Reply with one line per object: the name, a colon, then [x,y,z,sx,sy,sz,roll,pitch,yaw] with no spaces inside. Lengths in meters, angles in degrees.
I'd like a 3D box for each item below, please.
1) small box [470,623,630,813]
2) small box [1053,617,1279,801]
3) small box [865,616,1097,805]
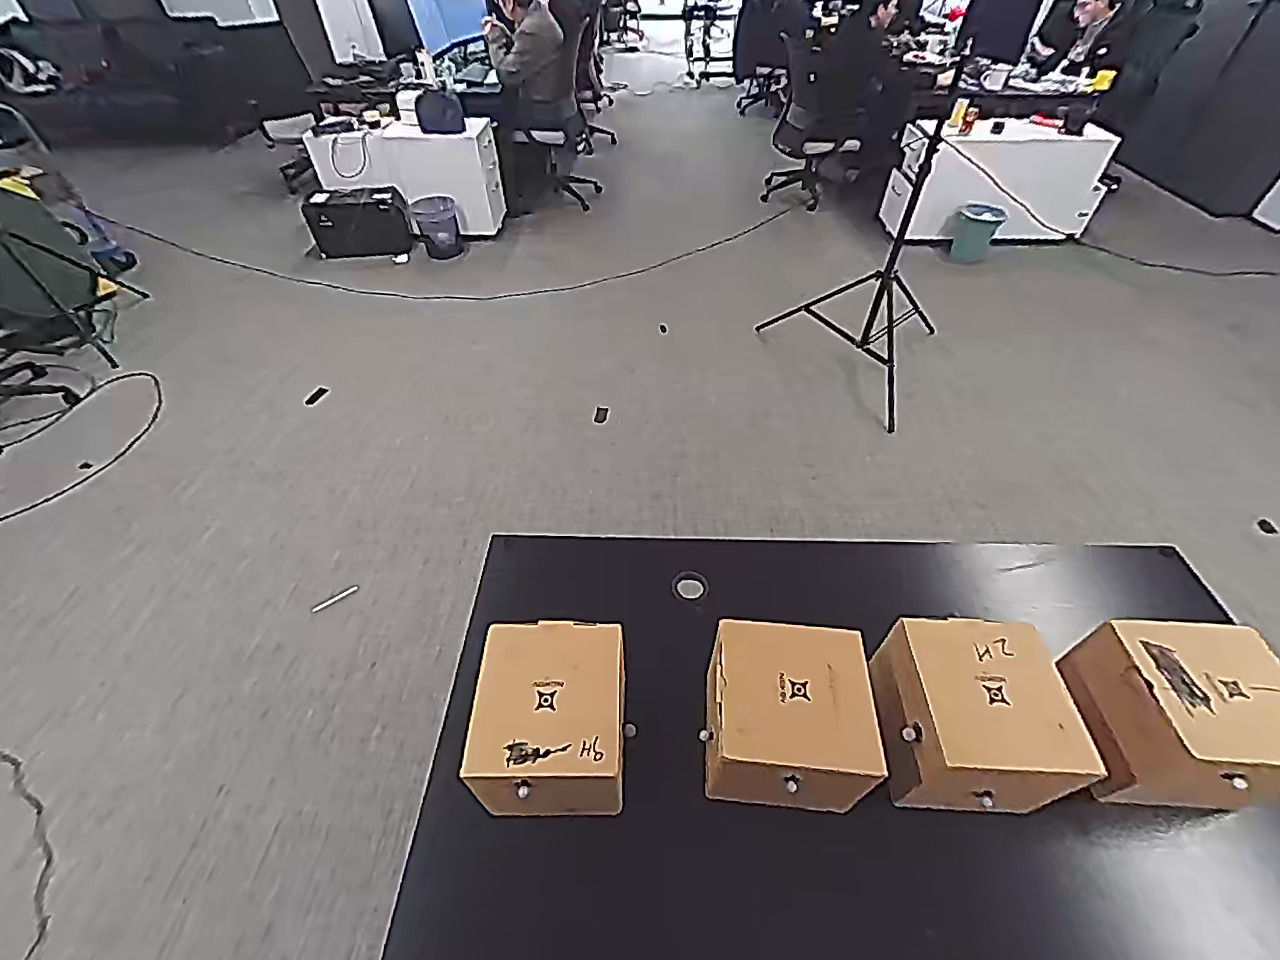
small box: [-0.099,0.301,0.686,0.168,0.176,0.179,0,47,1]
small box: [0.667,0.291,0.684,0.179,0.176,0.168,2,46,2]
small box: [0.406,0.294,0.685,0.168,0.176,0.179,2,46,2]
